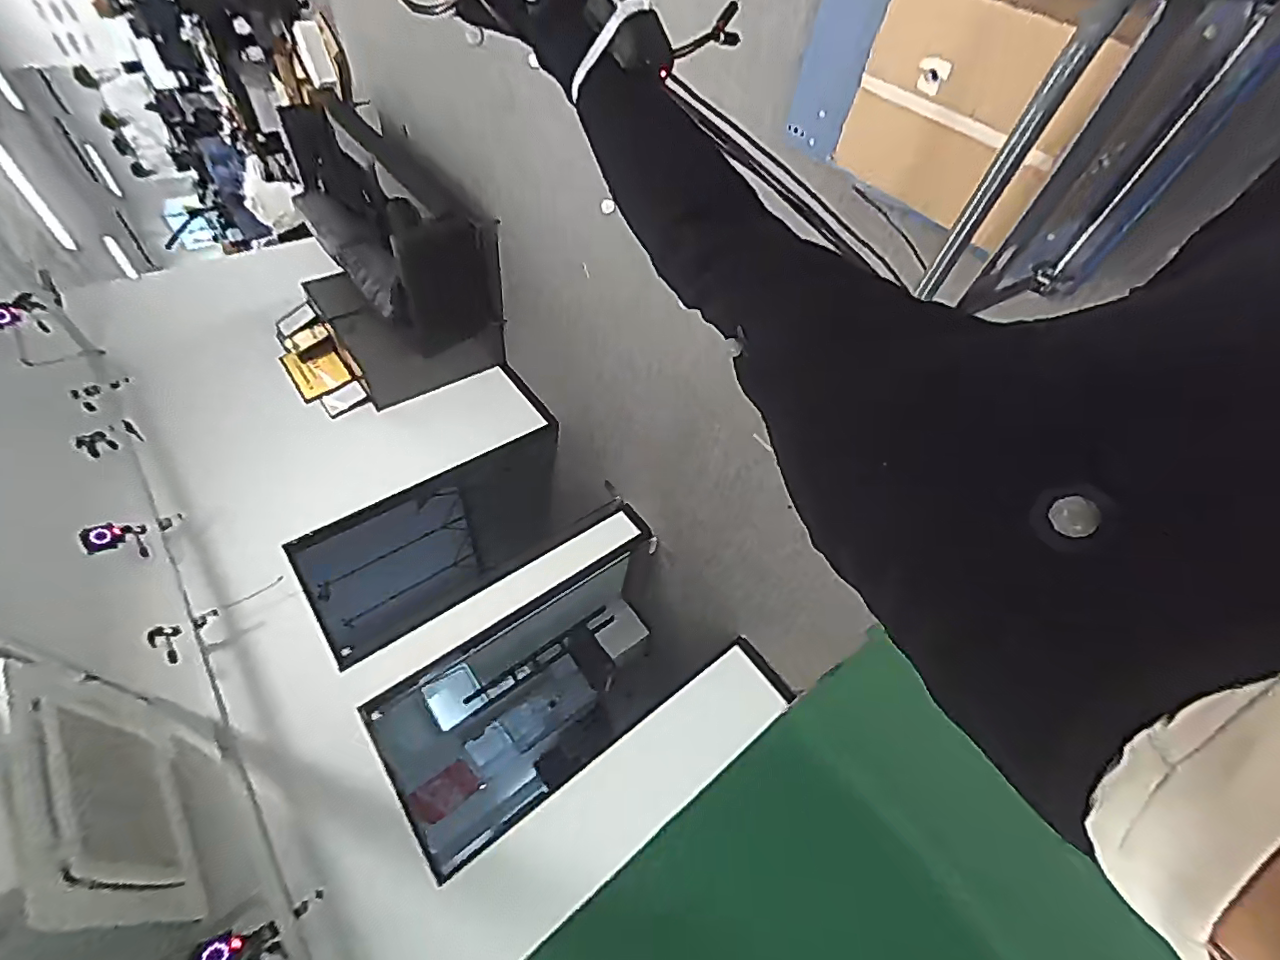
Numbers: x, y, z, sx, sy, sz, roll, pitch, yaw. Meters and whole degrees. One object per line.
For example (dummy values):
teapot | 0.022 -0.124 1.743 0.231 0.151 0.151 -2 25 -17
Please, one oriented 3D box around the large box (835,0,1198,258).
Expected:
large box | 0.674 -0.691 1.026 0.408 0.320 0.320 49 150 25
